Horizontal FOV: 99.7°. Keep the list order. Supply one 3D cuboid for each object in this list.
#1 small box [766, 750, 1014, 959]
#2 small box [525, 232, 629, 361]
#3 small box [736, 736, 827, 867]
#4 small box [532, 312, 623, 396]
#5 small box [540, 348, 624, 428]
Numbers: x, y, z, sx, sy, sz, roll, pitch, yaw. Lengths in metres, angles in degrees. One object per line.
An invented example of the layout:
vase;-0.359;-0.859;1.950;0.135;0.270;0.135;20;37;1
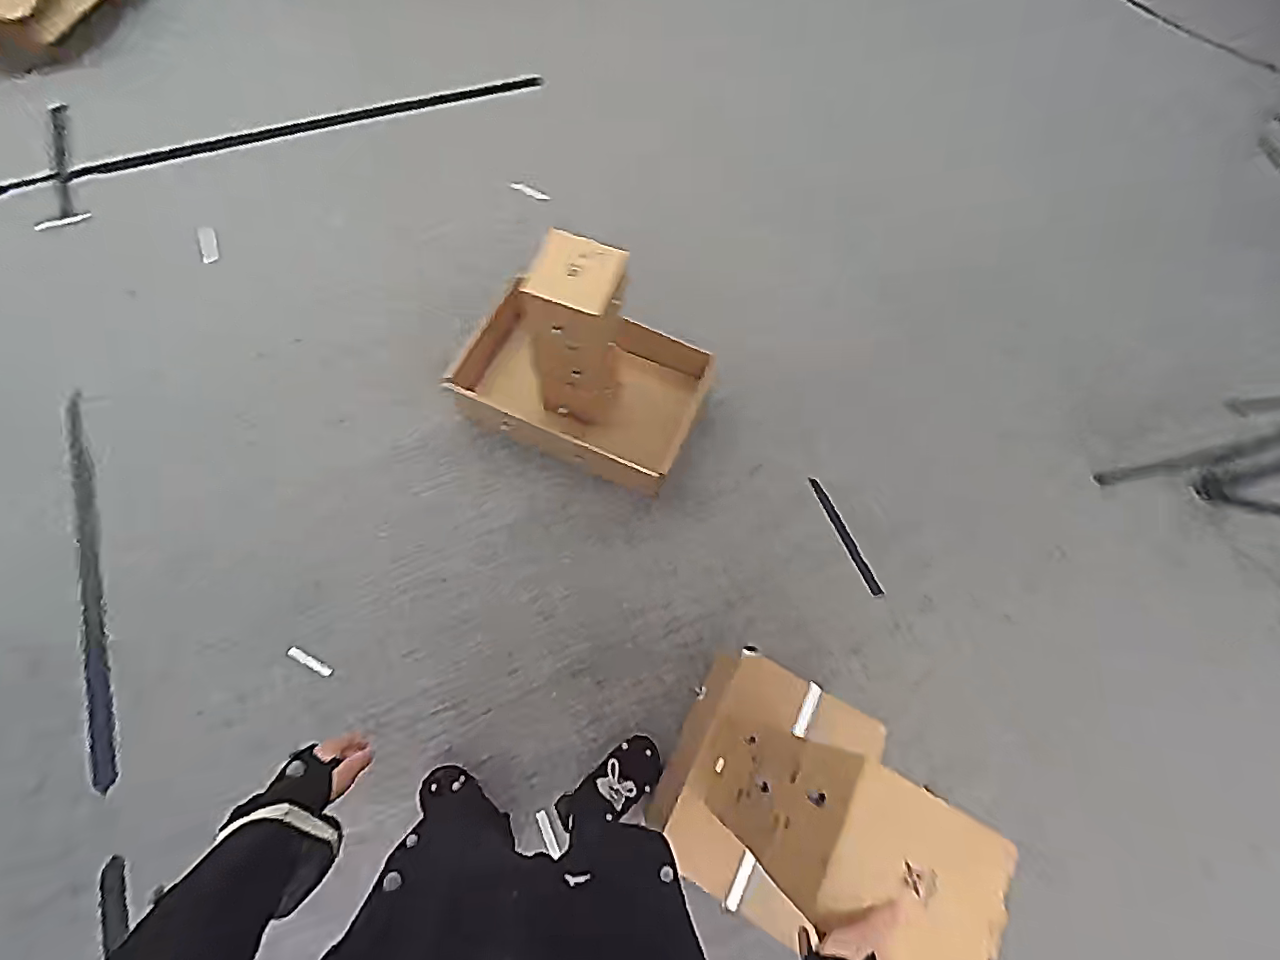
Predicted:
small box;0.268;0.432;0.617;0.179;0.176;0.168;30;70;5
small box;-0.131;-0.388;1.171;0.168;0.176;0.179;20;70;1
small box;0.257;0.486;0.770;0.179;0.176;0.168;28;71;6
small box;-0.149;-0.334;1.326;0.168;0.176;0.179;20;68;2
small box;-0.156;-0.274;1.476;0.168;0.176;0.179;24;70;5
